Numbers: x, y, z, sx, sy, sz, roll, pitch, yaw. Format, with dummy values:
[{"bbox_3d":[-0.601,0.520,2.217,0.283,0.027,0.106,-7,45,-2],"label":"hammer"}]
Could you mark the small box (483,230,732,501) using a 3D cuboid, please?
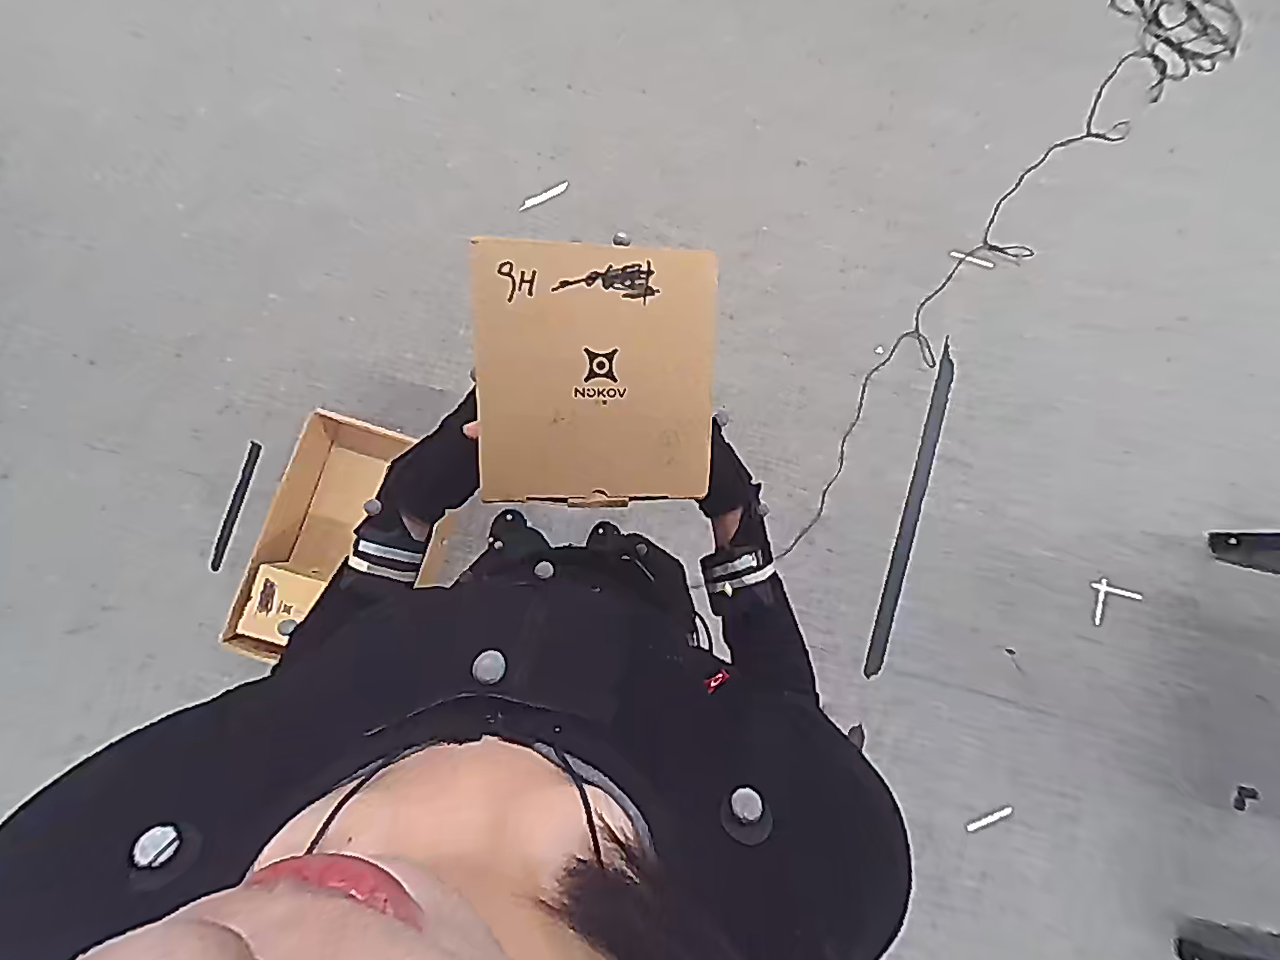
[{"bbox_3d":[-0.035,-0.088,0.444,0.168,0.176,0.179,0,102,-11],"label":"small box"}]
